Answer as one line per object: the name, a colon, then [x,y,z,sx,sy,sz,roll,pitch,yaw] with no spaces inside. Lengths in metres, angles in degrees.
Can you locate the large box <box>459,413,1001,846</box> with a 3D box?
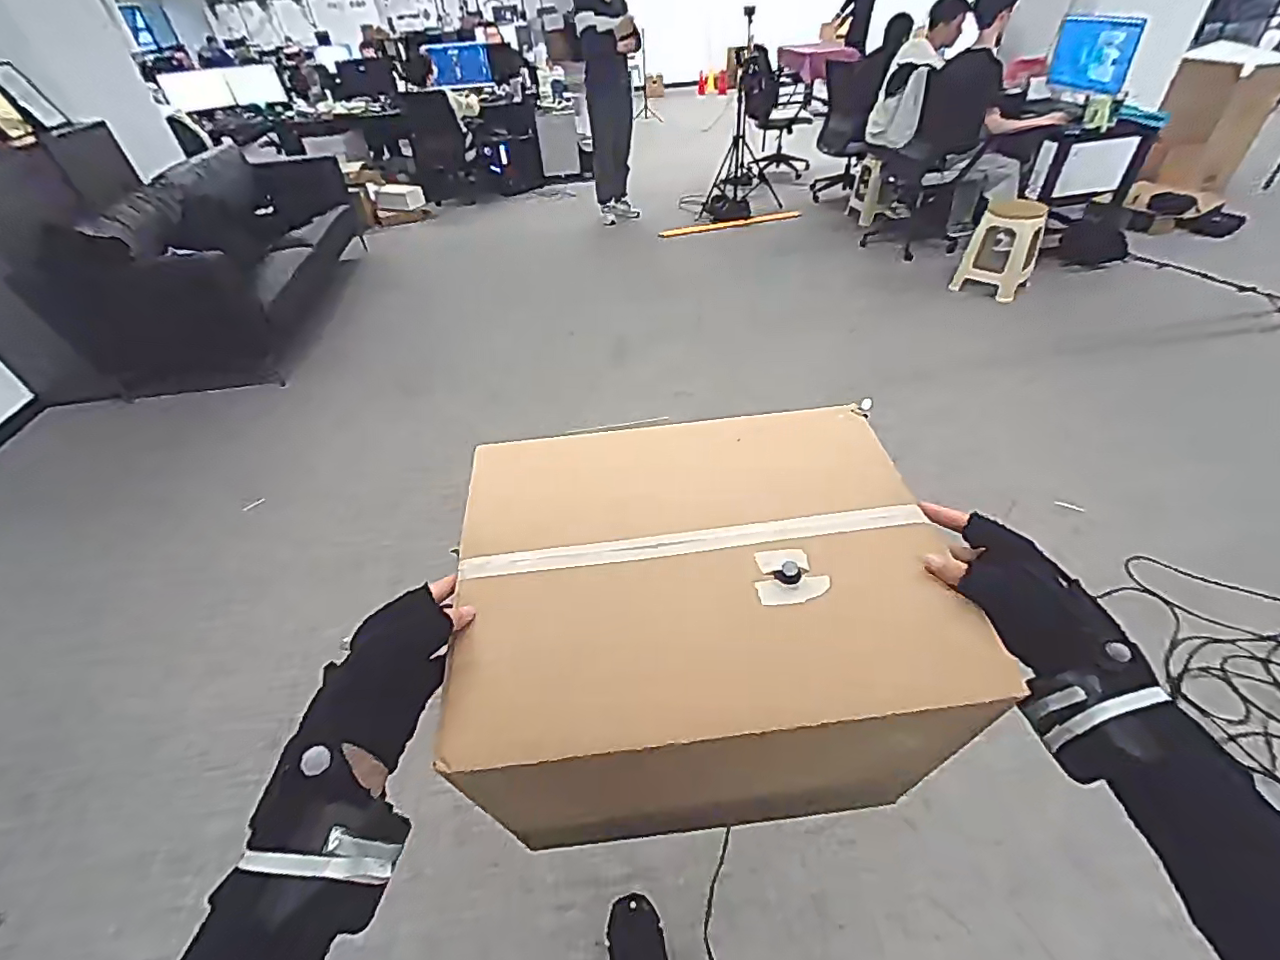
large box: [0.057,0.163,0.590,0.408,0.320,0.320,-7,48,-2]
